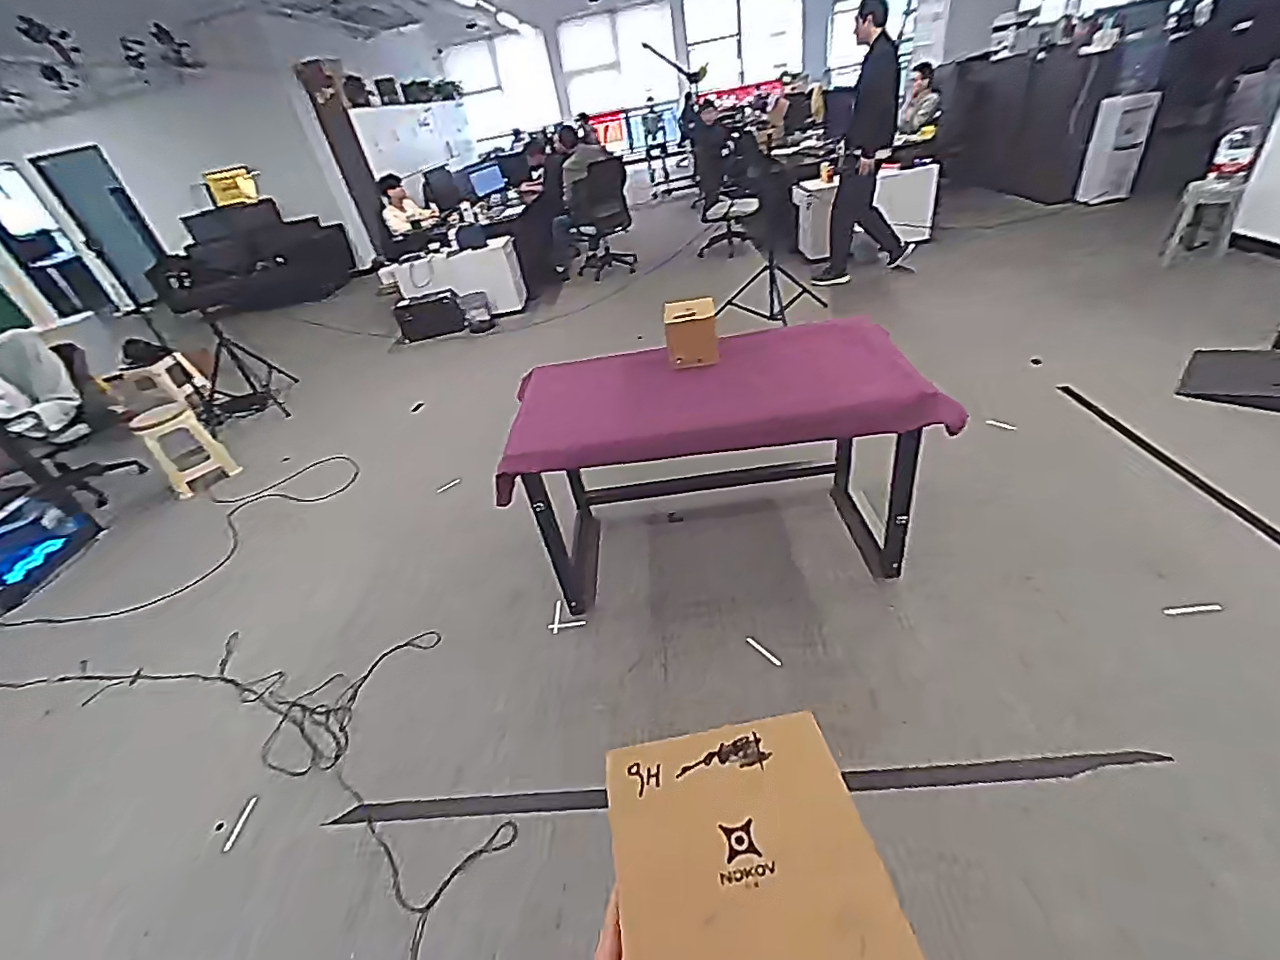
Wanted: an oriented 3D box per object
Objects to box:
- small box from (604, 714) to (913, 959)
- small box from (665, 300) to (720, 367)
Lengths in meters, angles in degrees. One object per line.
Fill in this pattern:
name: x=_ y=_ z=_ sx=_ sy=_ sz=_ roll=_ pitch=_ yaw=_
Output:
small box: x=0.073 y=0.309 z=0.392 sx=0.168 sy=0.176 sz=0.179 roll=-10 pitch=35 yaw=-3
small box: x=0.181 y=-0.494 z=1.847 sx=0.168 sy=0.176 sz=0.179 roll=-5 pitch=37 yaw=9
